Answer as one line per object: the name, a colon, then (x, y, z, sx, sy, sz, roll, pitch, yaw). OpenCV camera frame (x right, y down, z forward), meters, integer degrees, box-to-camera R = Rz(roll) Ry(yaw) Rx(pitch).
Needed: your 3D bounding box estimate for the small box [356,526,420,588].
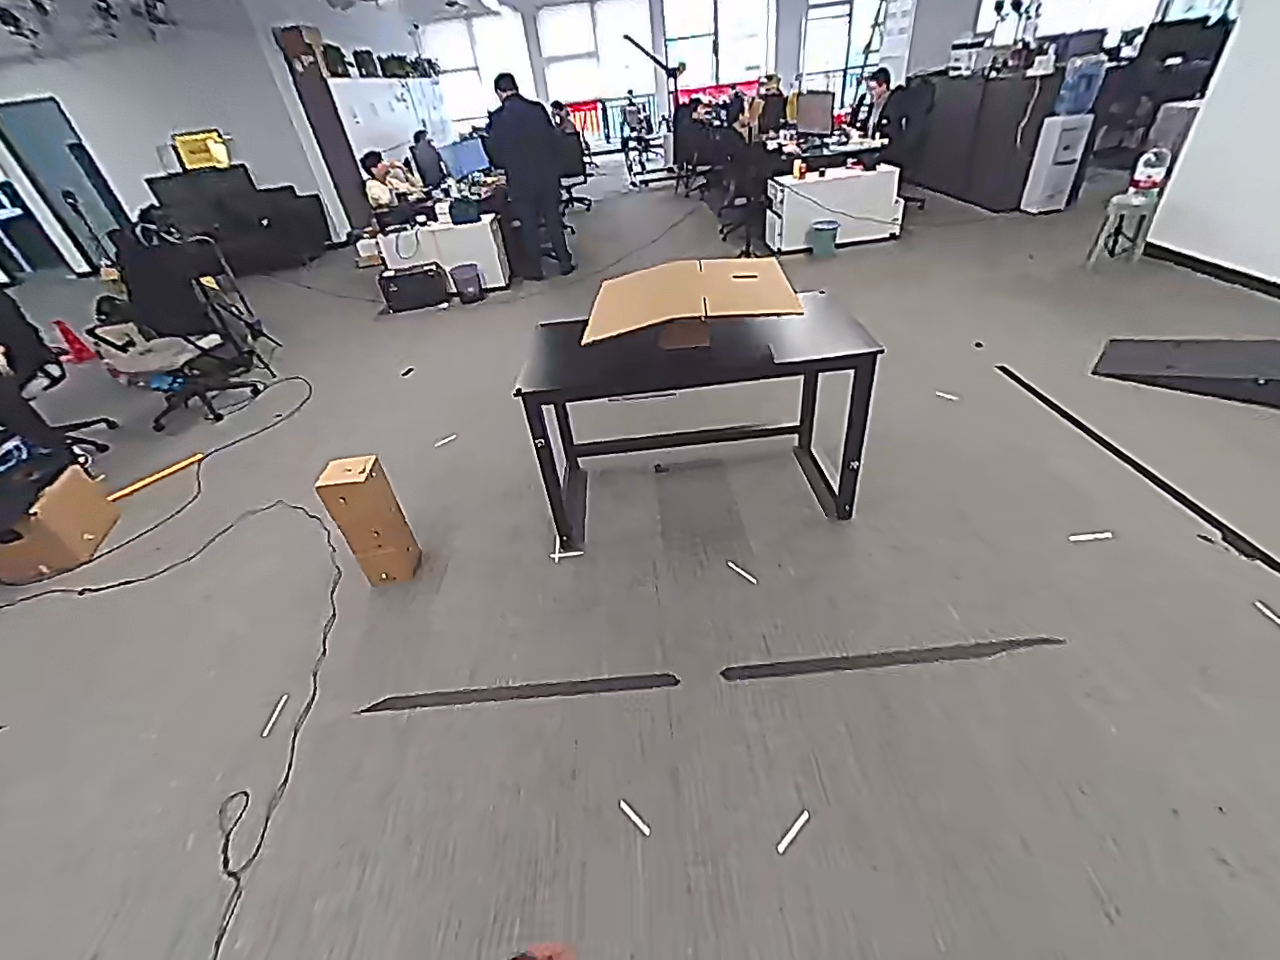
small box: (-1.013, 0.312, 2.190, 0.168, 0.176, 0.179, -9, 37, -1)

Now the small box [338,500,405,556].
small box: (-1.033, 0.180, 2.098, 0.168, 0.176, 0.179, -10, 35, -5)

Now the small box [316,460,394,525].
small box: (-1.046, 0.050, 2.000, 0.179, 0.176, 0.168, -9, 36, -1)
